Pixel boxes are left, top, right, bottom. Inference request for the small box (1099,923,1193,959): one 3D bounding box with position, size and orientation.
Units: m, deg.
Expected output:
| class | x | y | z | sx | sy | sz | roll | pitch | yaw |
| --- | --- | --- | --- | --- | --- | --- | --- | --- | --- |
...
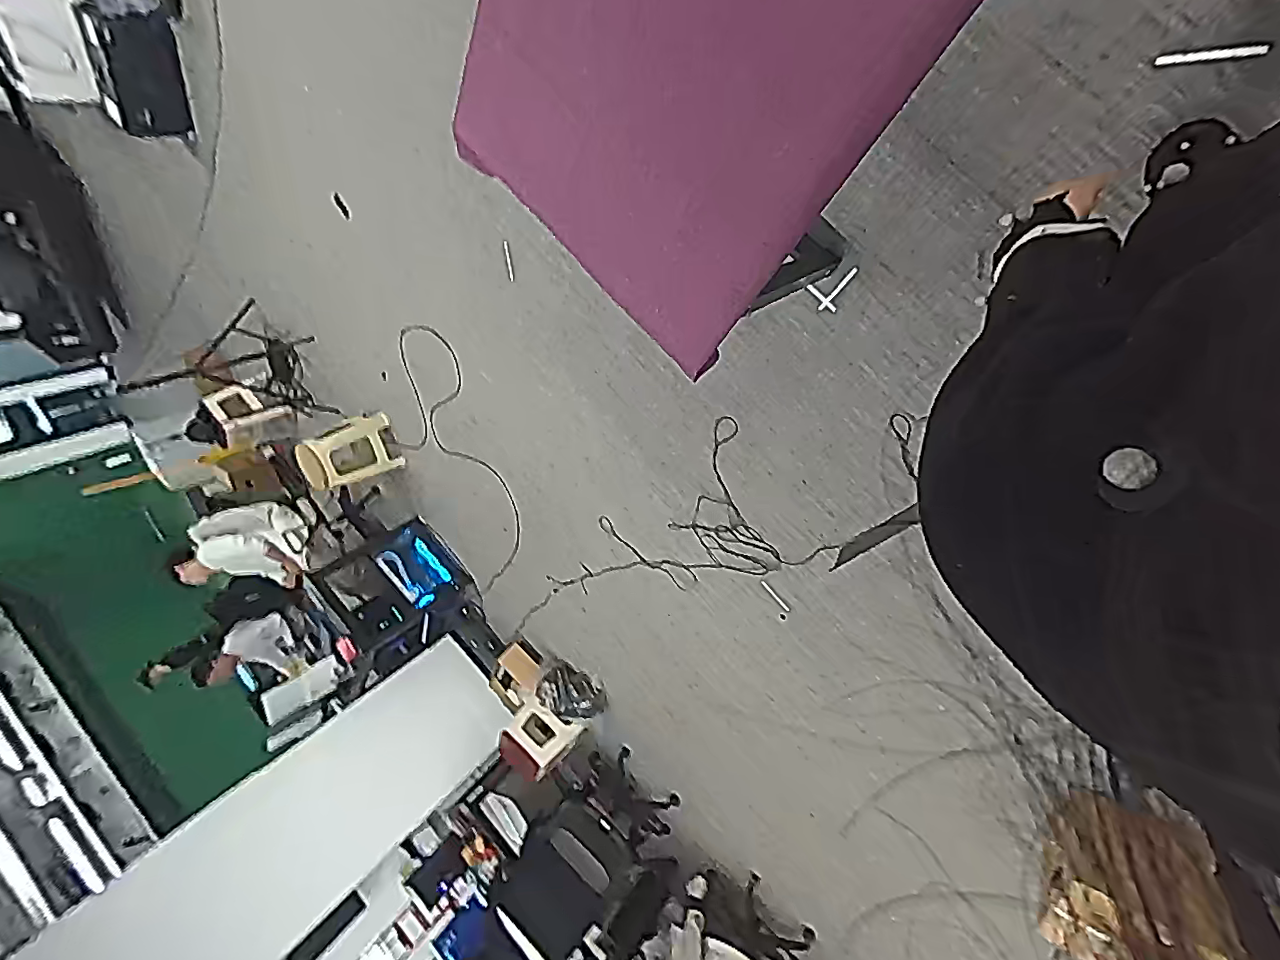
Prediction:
| class | x | y | z | sx | sy | sz | roll | pitch | yaw |
| --- | --- | --- | --- | --- | --- | --- | --- | --- | --- |
| small box | 1.226 | 1.221 | 1.286 | 0.179 | 0.176 | 0.168 | 16 | 124 | 35 |
